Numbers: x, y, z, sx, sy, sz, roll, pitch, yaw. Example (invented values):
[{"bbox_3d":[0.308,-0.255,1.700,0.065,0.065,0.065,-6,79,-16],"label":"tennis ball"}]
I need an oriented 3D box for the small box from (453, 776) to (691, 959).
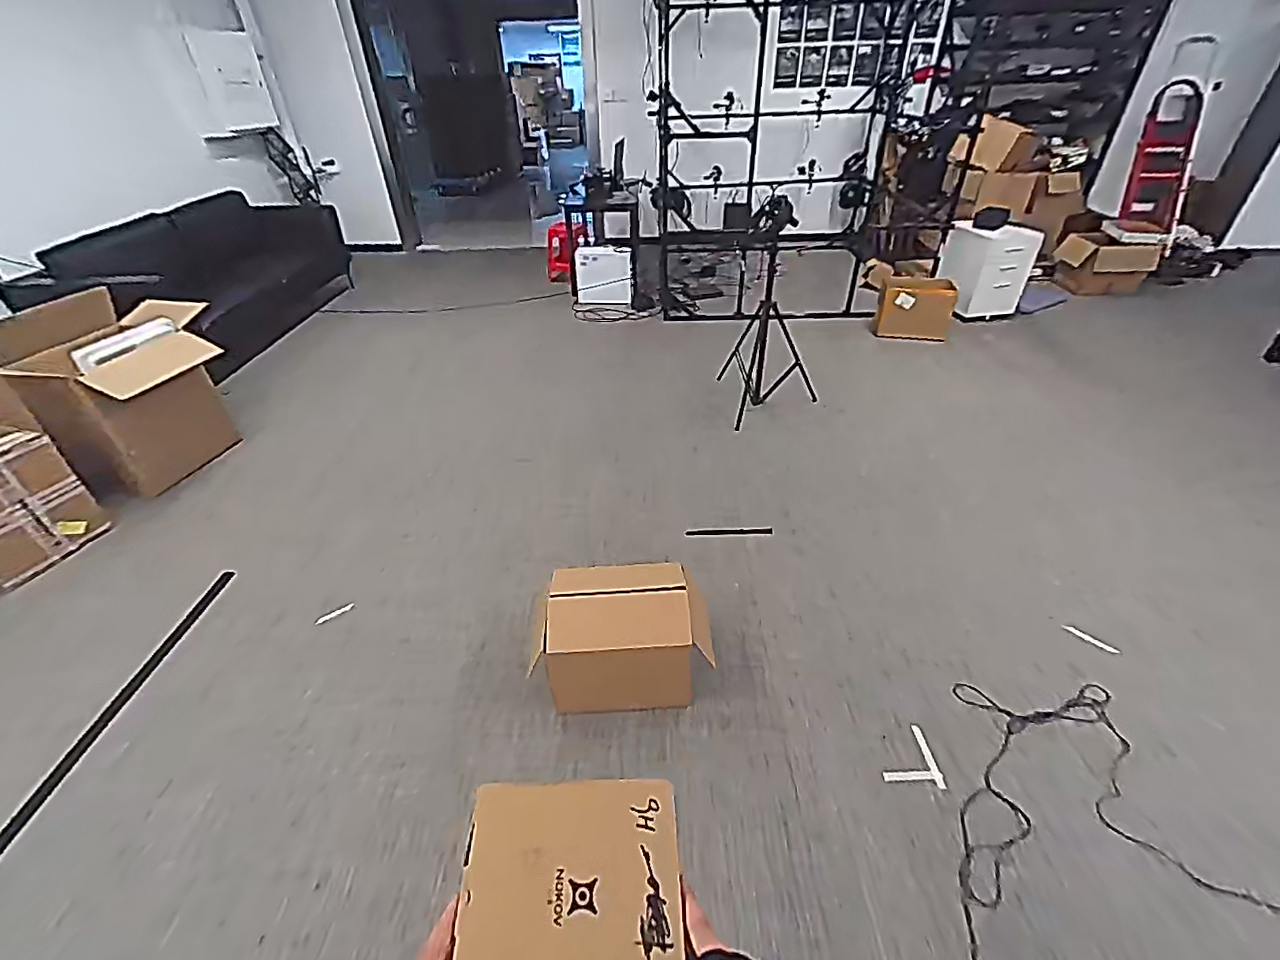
[{"bbox_3d":[-0.053,0.378,0.476,0.179,0.176,0.168,1,44,-3],"label":"small box"}]
